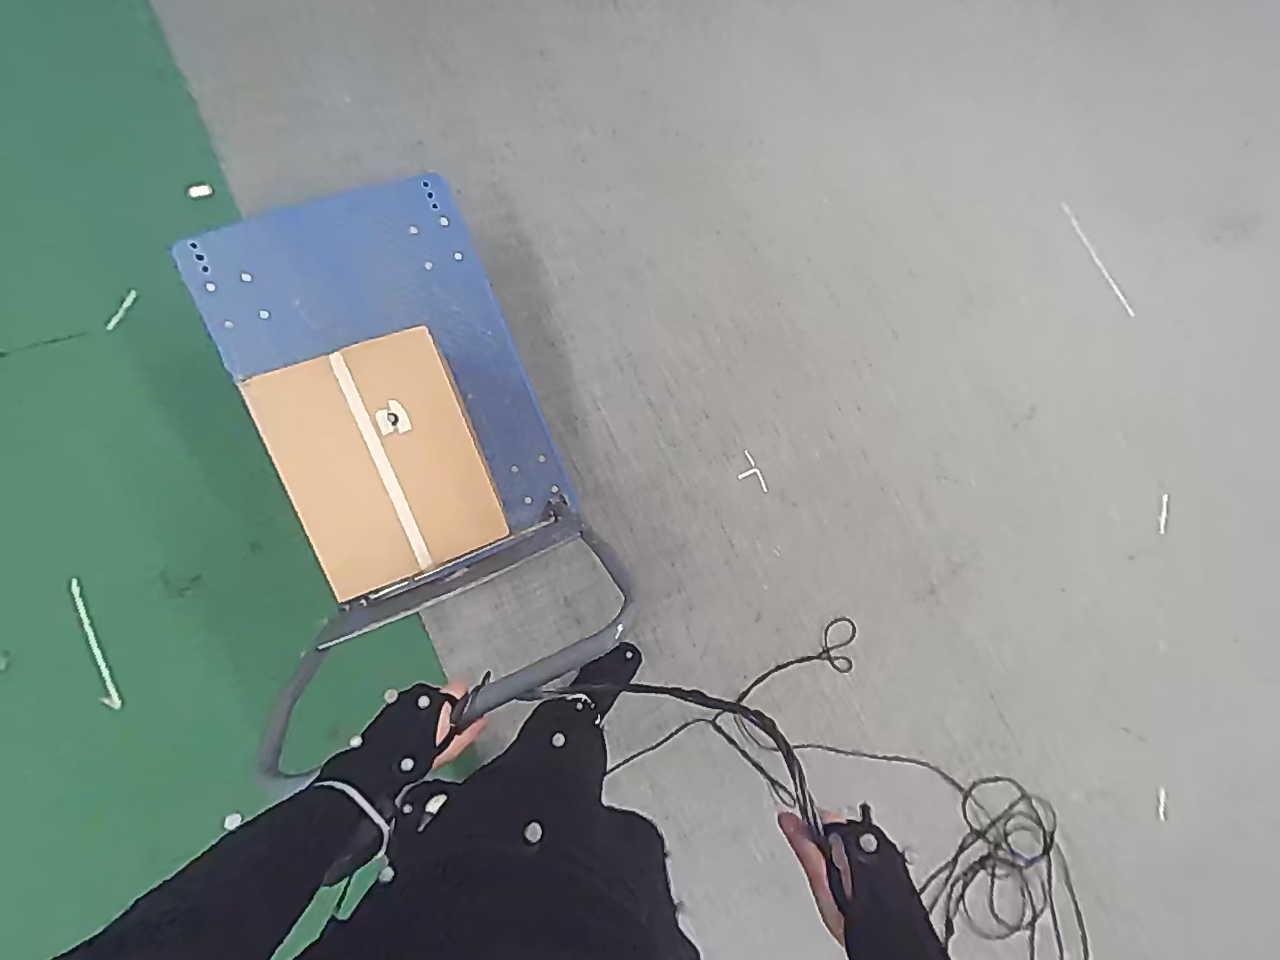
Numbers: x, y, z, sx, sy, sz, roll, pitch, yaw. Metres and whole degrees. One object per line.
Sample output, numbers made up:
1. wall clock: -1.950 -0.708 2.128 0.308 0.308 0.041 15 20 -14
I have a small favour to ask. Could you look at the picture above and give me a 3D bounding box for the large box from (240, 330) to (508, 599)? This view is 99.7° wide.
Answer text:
1. large box: -0.485 -0.034 1.086 0.320 0.320 0.408 -22 98 -13
